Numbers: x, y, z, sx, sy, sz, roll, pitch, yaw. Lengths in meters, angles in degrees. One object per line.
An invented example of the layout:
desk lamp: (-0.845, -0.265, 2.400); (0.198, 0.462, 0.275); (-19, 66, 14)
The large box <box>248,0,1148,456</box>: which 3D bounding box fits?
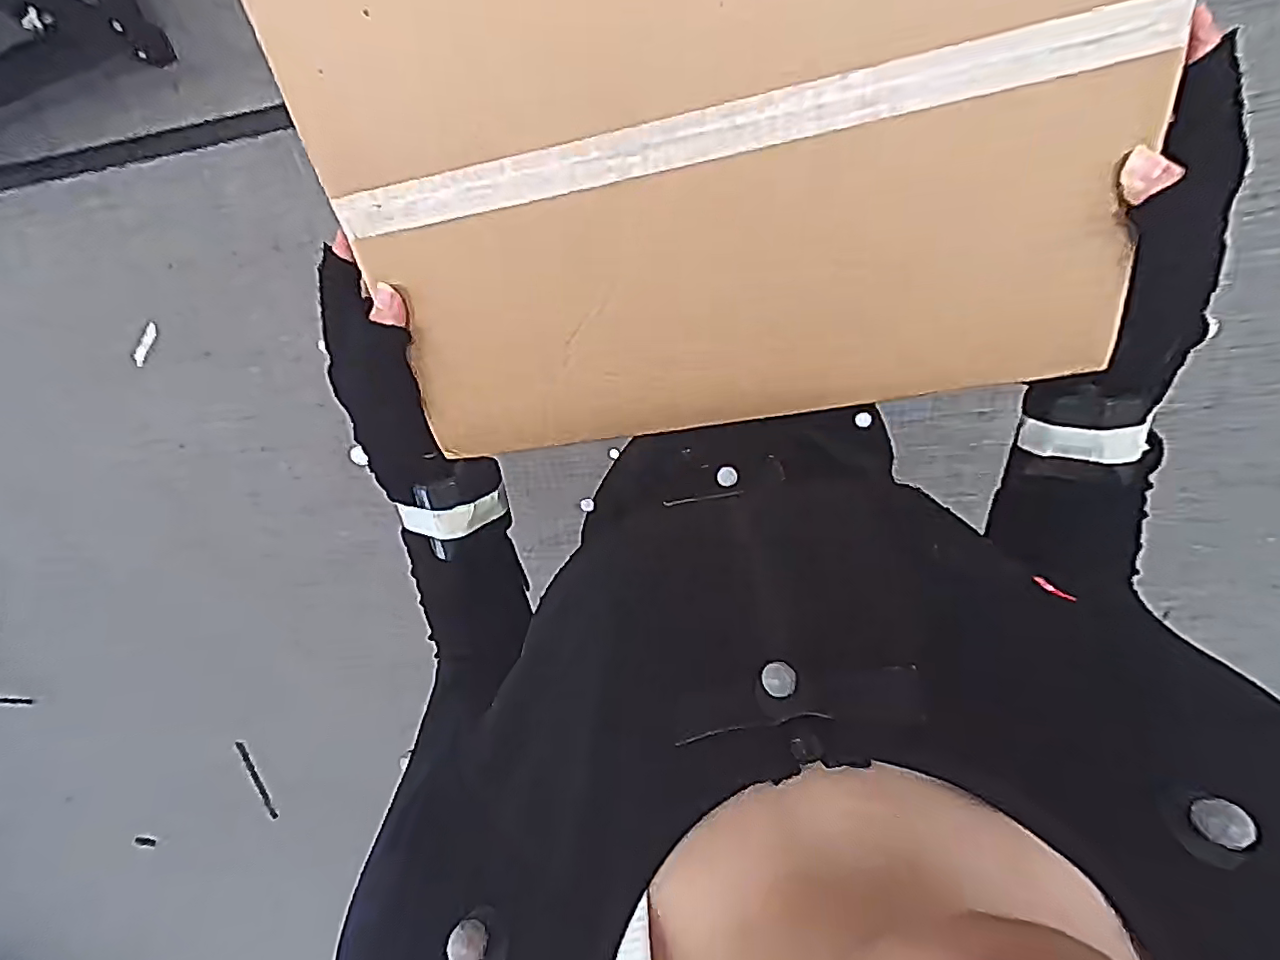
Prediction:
large box: (0.041, -0.251, 0.397); (0.408, 0.320, 0.320); (-8, 120, 10)
